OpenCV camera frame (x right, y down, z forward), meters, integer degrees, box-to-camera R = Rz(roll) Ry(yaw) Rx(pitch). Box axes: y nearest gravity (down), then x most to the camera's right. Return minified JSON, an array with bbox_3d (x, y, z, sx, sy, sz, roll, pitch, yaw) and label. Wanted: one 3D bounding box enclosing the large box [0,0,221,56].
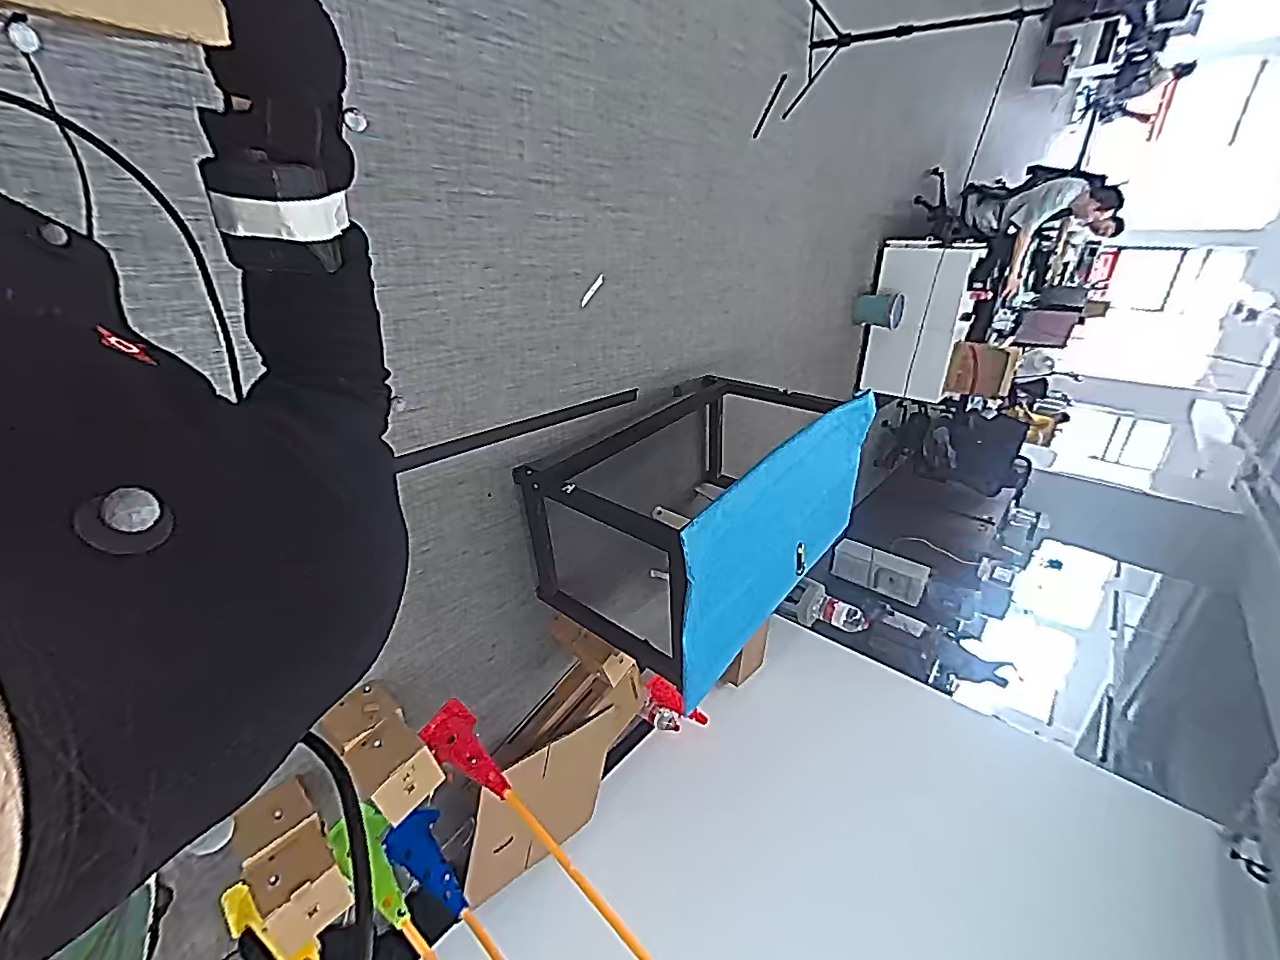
[{"bbox_3d":[-0.431,-0.350,0.142,0.408,0.320,0.320,-24,135,-43],"label":"large box"}]
